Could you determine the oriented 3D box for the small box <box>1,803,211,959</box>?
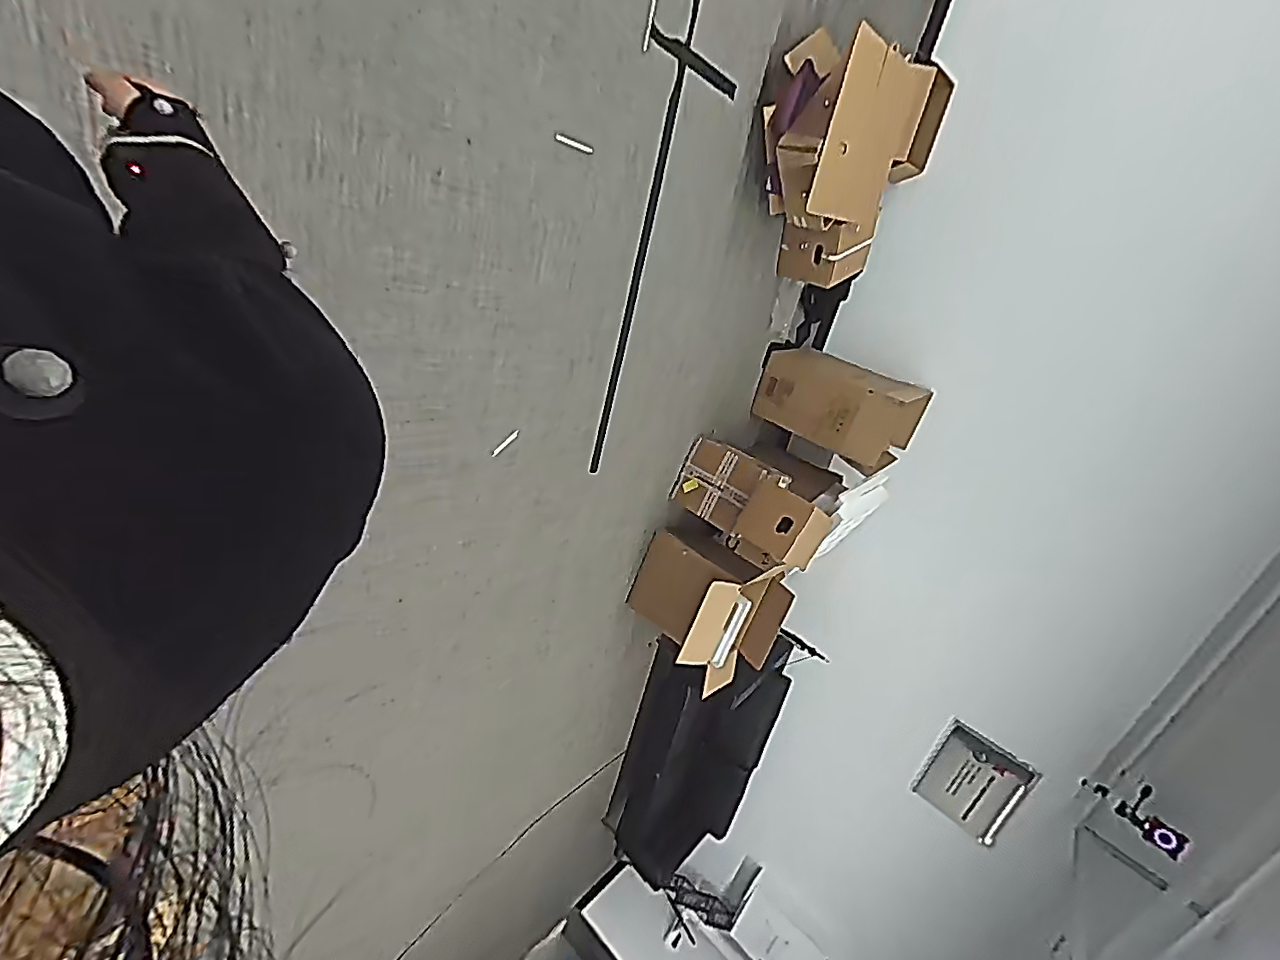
[{"bbox_3d":[-0.710,0.579,0.726,0.168,0.176,0.179,-16,128,-47],"label":"small box"}]
